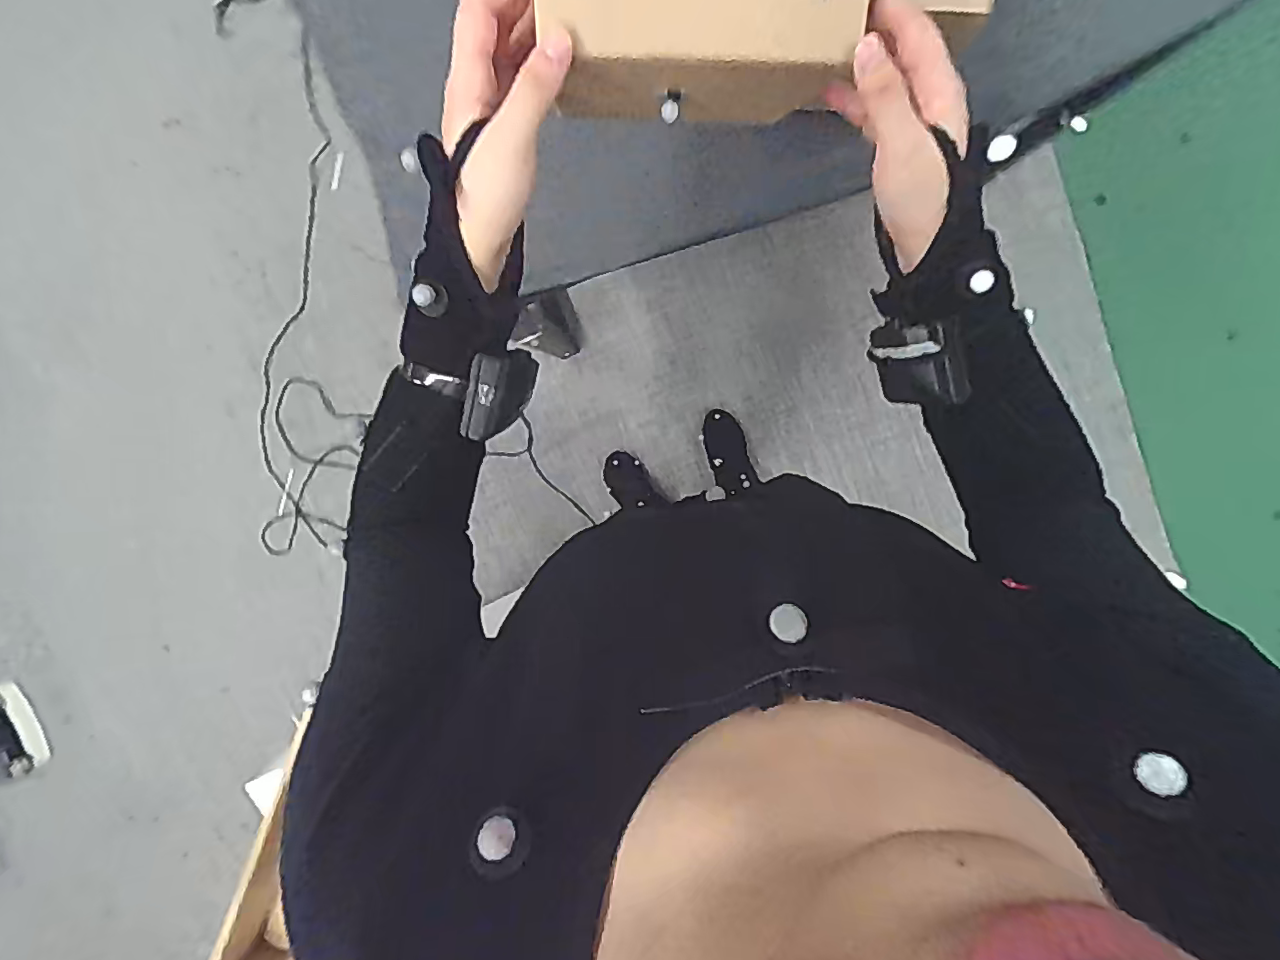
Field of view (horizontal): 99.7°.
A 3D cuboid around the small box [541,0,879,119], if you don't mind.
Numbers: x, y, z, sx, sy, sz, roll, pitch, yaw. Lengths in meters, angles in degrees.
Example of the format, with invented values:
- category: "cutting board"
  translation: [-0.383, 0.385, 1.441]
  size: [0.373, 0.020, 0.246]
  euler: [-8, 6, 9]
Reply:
- category: "small box"
  translation: [0.034, -0.329, 0.322]
  size: [0.179, 0.176, 0.168]
  euler: [0, 115, -2]
